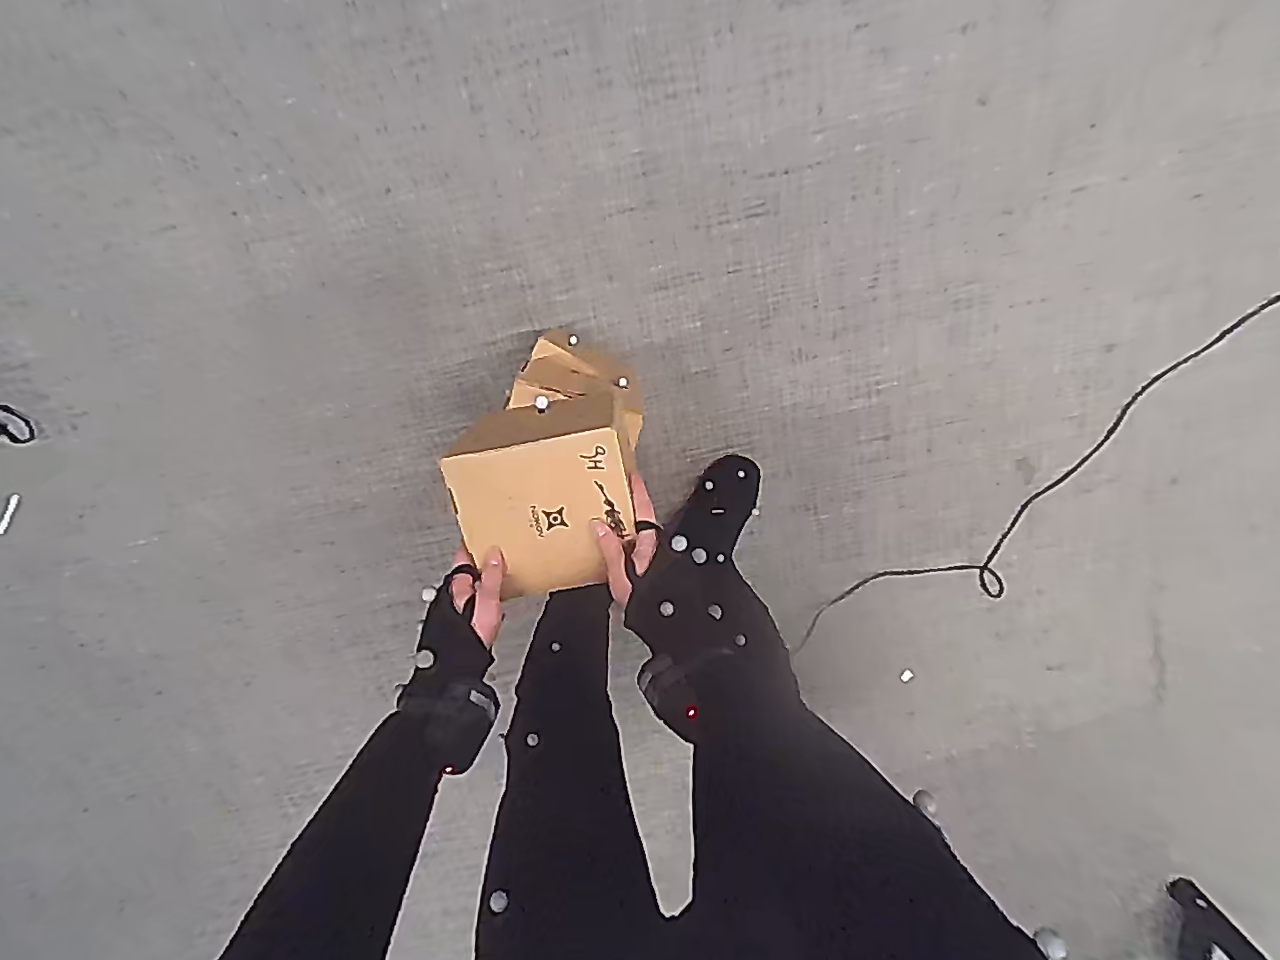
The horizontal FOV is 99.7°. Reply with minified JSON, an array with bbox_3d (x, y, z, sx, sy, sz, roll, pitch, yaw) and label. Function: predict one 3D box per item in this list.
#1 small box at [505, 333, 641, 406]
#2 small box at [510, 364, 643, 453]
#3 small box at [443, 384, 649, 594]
[{"bbox_3d":[-0.115,-0.134,0.911,0.179,0.176,0.168,27,108,-12],"label":"small box"},{"bbox_3d":[-0.101,-0.052,0.767,0.168,0.176,0.179,16,111,-7],"label":"small box"},{"bbox_3d":[-0.094,0.001,0.619,0.179,0.176,0.168,-13,114,1],"label":"small box"}]
